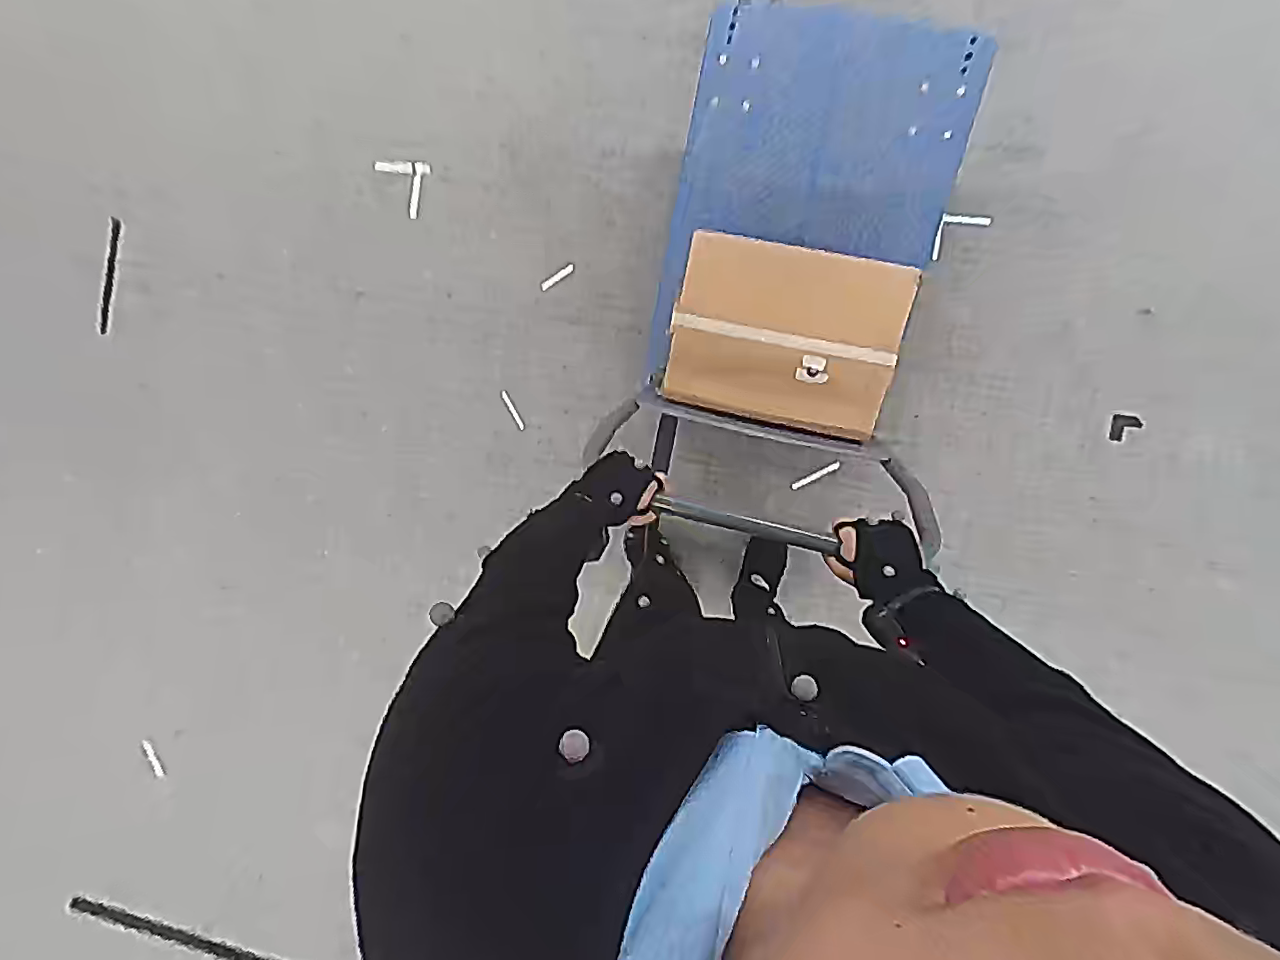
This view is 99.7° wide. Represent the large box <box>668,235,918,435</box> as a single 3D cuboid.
[{"bbox_3d":[0.294,-0.305,1.151,0.408,0.320,0.320,13,108,7],"label":"large box"}]
